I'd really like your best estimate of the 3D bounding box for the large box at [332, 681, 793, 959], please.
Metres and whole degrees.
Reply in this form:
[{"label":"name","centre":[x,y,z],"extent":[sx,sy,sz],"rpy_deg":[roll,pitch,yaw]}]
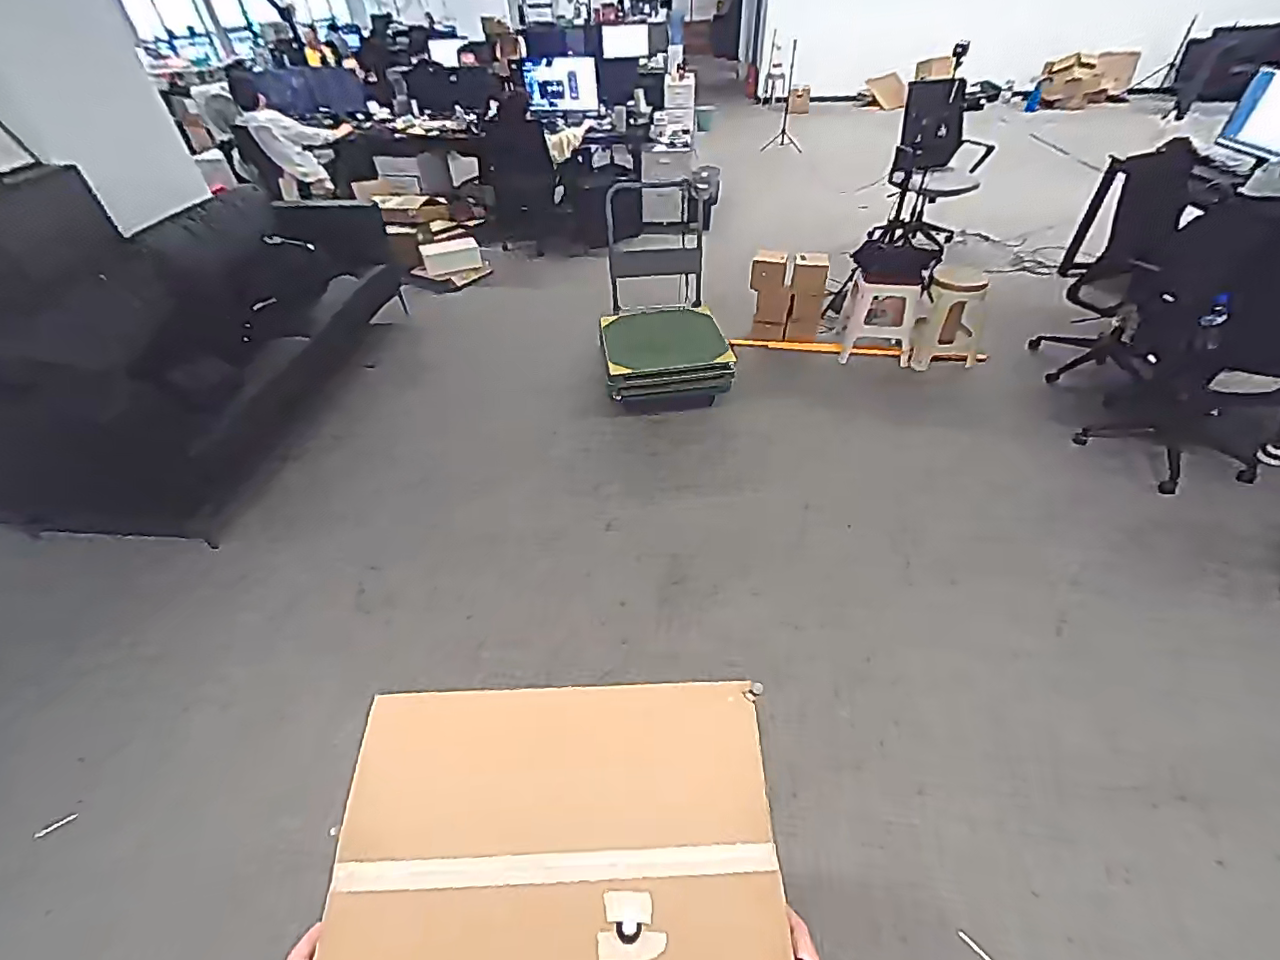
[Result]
[{"label":"large box","centre":[-0.072,0.441,0.626],"extent":[0.408,0.320,0.320],"rpy_deg":[-2,56,-2]}]
